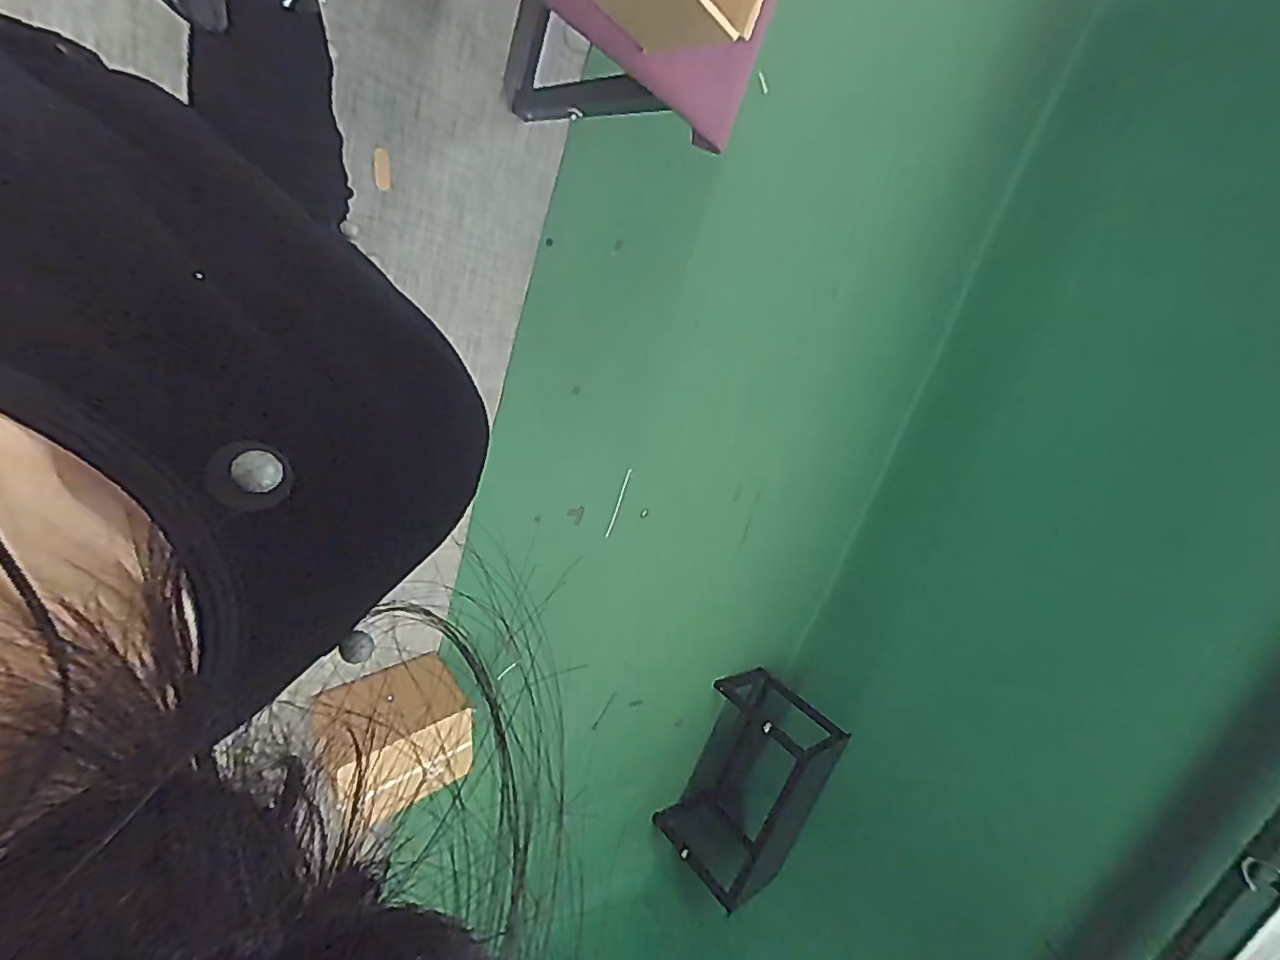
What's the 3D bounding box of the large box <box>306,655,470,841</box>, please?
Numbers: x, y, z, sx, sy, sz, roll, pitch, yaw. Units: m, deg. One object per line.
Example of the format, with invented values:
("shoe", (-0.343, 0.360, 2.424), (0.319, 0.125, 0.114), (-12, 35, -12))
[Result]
("large box", (-0.816, 0.852, 1.775), (0.408, 0.320, 0.320), (-14, 123, -40))
